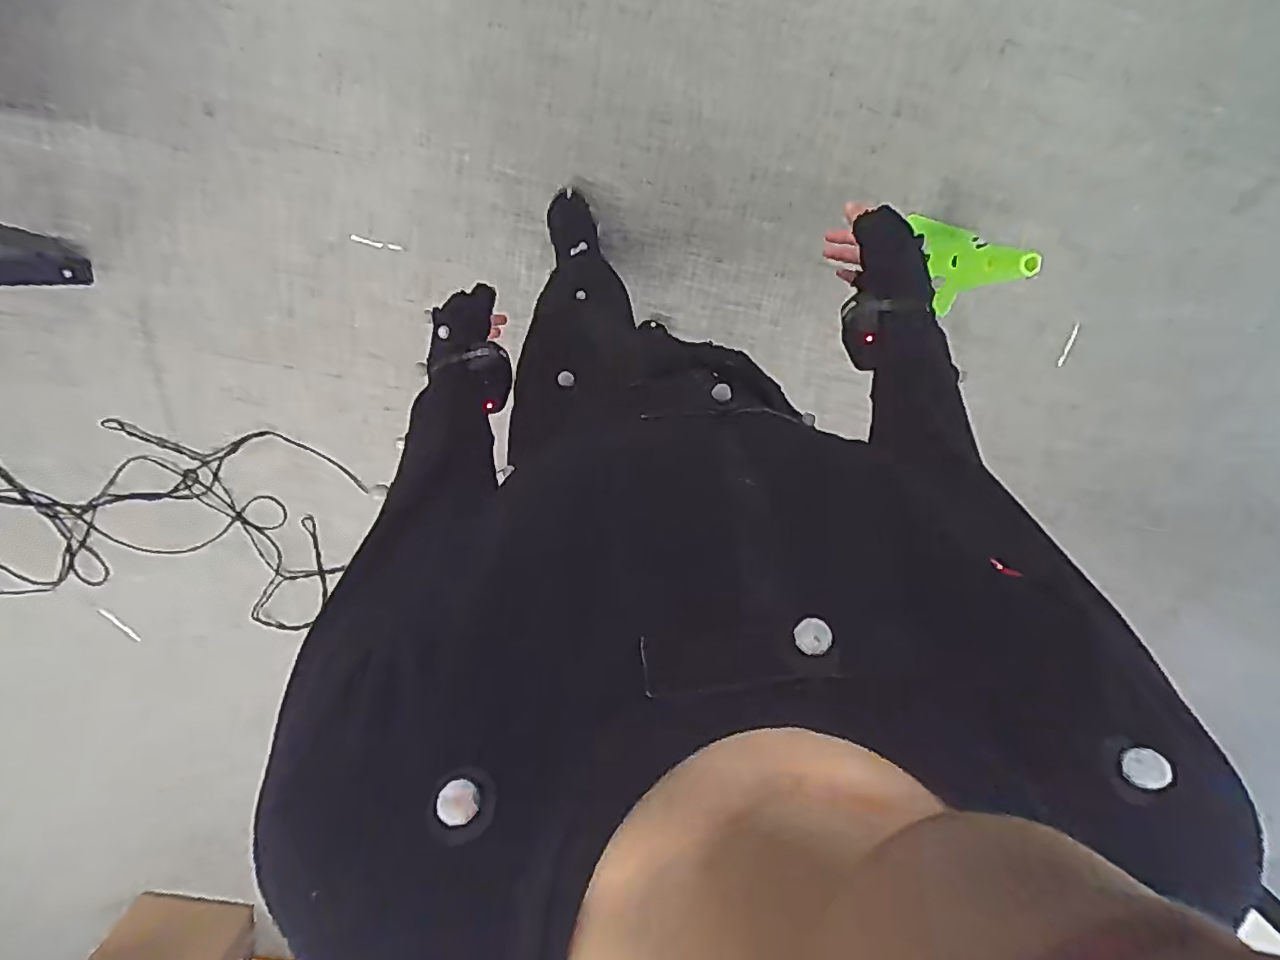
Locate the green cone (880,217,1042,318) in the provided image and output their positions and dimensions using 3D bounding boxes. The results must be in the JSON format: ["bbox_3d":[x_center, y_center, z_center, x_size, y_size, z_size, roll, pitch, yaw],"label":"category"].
[{"bbox_3d":[0.713,-0.457,1.159,0.200,0.368,0.202,13,109,-6],"label":"green cone"}]
